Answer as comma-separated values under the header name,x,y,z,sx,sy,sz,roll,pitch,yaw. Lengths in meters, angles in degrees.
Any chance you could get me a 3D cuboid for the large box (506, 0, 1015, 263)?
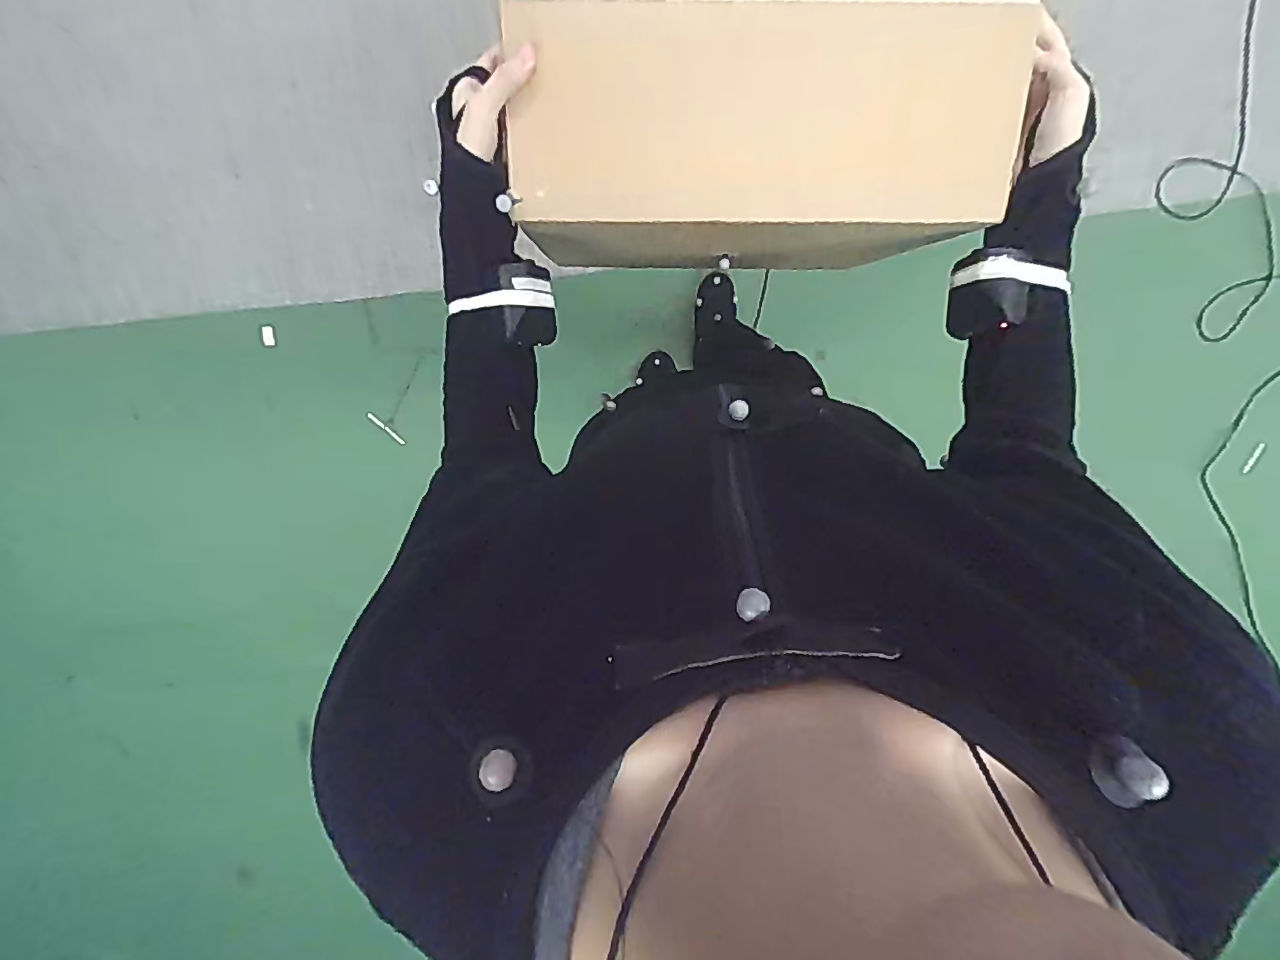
name,x,y,z,sx,sy,sz,roll,pitch,yaw
large box,0.093,-0.408,0.560,0.408,0.320,0.320,-1,104,-1
